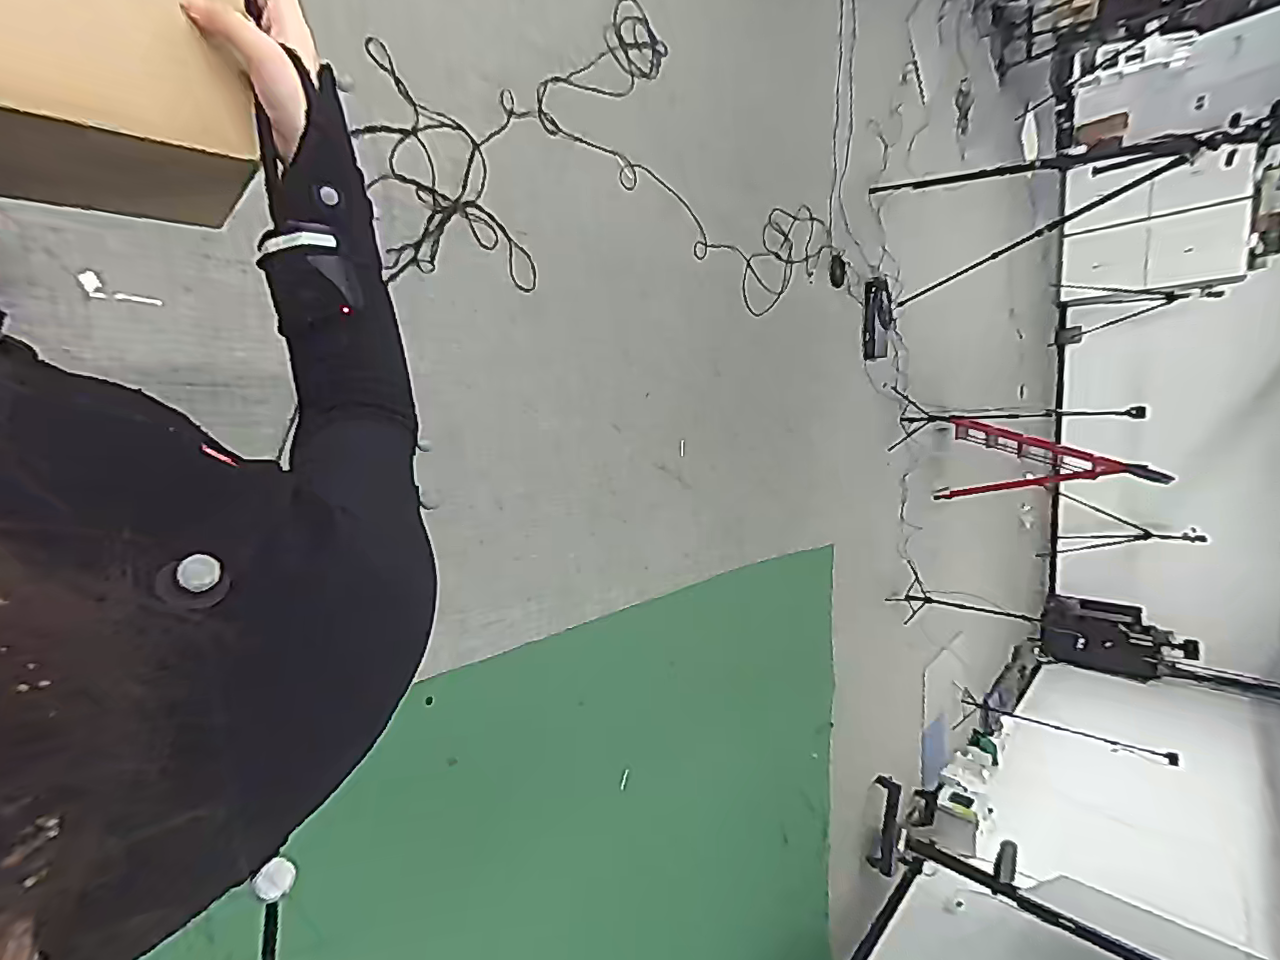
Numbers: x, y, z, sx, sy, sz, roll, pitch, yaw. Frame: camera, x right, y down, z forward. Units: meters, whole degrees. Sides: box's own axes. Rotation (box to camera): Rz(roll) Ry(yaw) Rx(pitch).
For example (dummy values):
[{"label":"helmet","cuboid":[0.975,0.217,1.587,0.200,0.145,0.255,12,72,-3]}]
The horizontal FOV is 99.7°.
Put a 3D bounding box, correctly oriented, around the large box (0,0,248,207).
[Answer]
[{"label":"large box","cuboid":[-0.536,-0.399,0.355,0.408,0.320,0.320,-9,107,-39]}]
